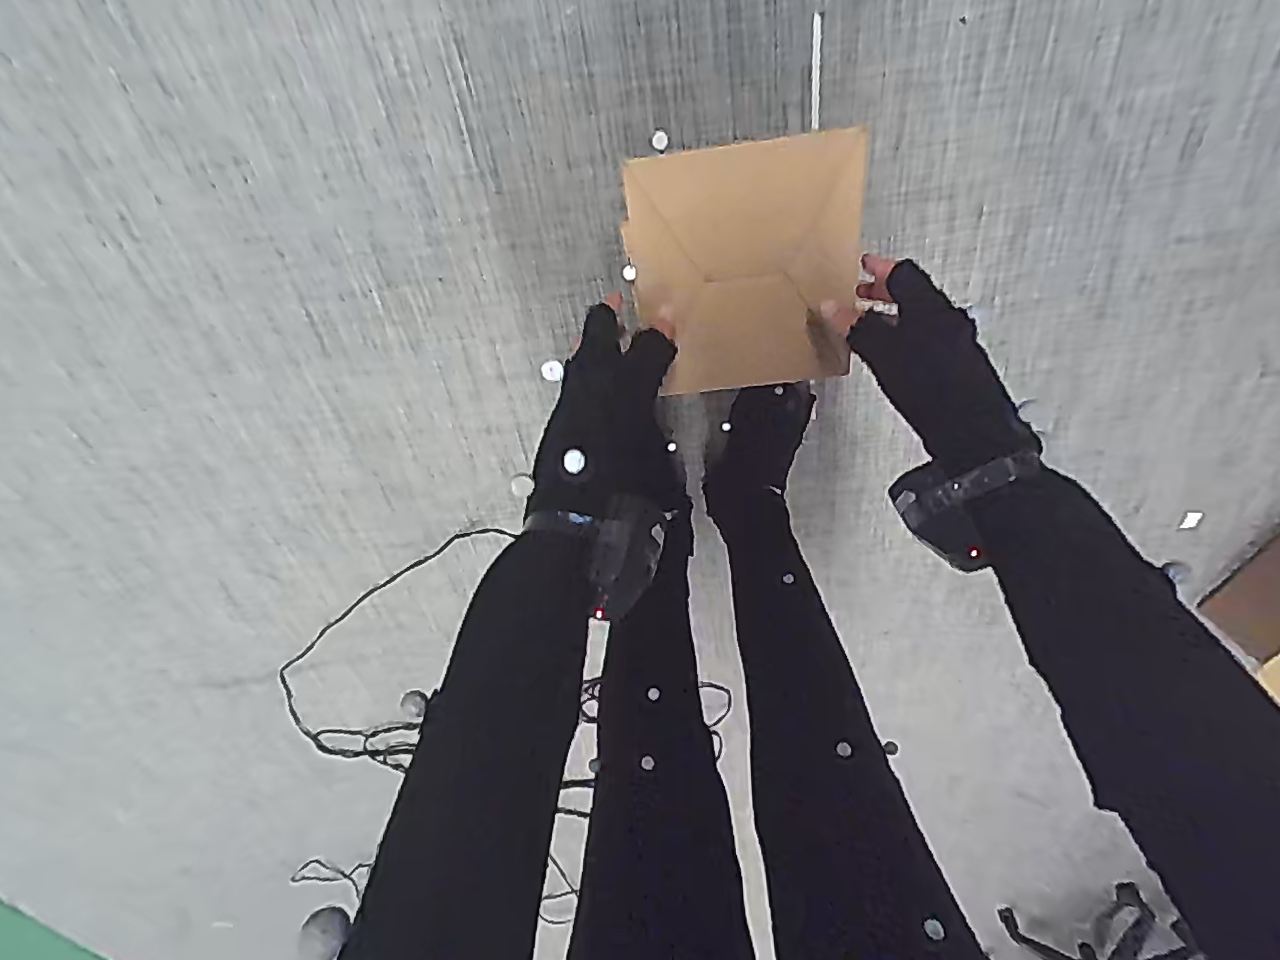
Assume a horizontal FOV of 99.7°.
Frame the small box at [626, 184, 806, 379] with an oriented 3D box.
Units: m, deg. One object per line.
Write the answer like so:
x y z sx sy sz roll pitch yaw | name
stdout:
0.085 -0.240 0.638 0.179 0.176 0.168 -10 120 7 | small box
